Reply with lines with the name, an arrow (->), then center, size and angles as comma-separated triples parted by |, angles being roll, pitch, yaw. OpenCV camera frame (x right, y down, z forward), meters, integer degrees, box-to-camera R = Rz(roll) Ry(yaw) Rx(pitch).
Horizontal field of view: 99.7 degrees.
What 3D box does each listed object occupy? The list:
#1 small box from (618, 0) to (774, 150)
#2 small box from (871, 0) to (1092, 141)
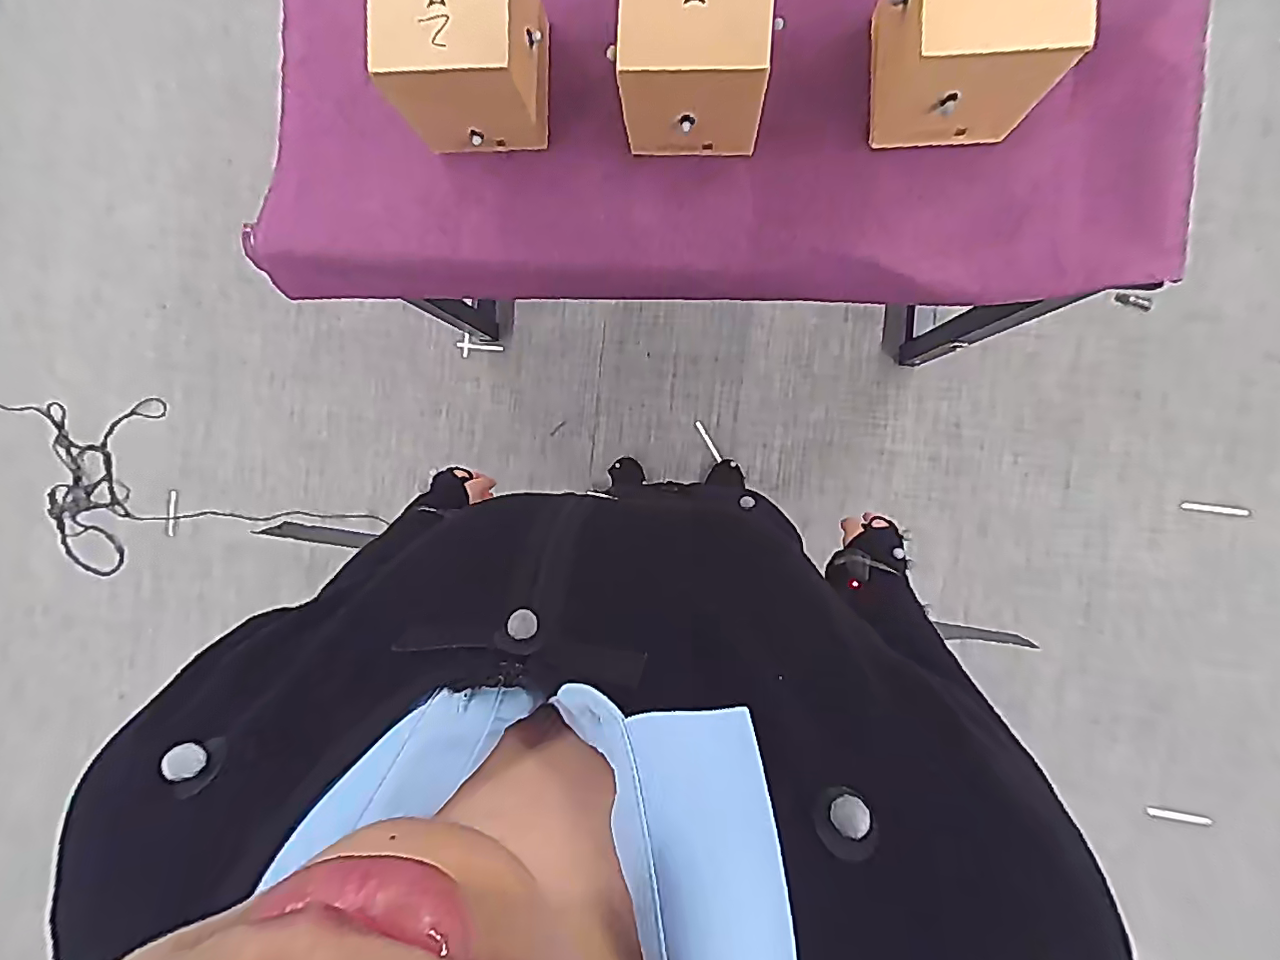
small box -> 0.070, -0.529, 0.652 | 0.168, 0.176, 0.179 | 4, 93, 4
small box -> 0.378, -0.520, 0.624 | 0.168, 0.176, 0.179 | 1, 91, 6
